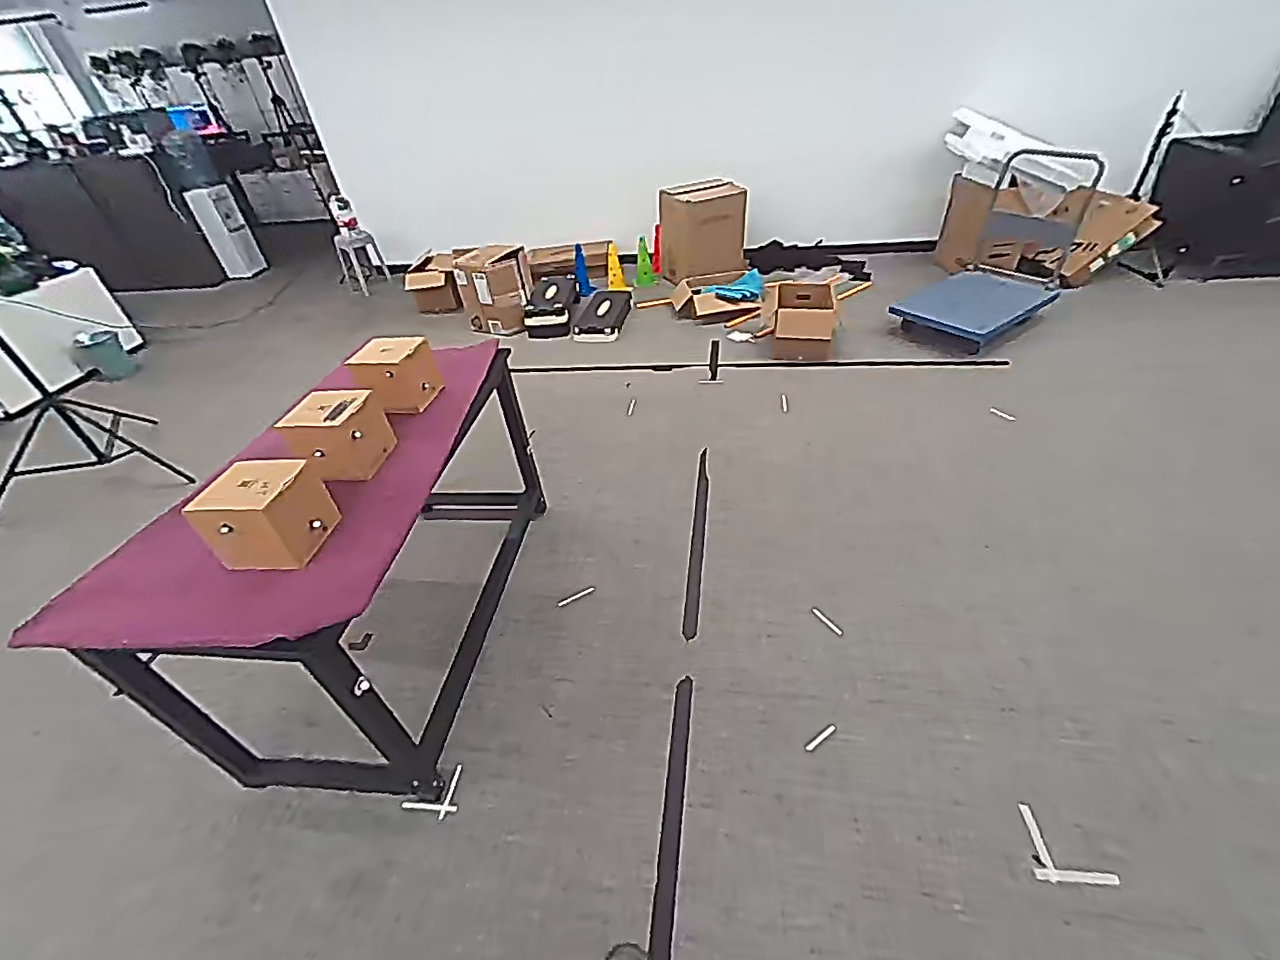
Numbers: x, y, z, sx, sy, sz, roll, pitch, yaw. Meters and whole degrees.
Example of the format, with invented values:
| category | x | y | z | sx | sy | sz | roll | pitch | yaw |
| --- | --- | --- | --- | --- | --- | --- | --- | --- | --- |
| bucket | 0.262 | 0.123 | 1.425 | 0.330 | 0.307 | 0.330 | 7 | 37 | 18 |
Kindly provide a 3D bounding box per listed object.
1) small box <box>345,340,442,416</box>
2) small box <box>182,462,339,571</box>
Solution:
| category | x | y | z | sx | sy | sz | roll | pitch | yaw |
| --- | --- | --- | --- | --- | --- | --- | --- | --- | --- |
| small box | -0.722 | -0.301 | 1.604 | 0.179 | 0.176 | 0.168 | 2 | 40 | 11 |
| small box | -0.784 | 0.078 | 1.139 | 0.179 | 0.176 | 0.168 | -1 | 38 | 6 |
